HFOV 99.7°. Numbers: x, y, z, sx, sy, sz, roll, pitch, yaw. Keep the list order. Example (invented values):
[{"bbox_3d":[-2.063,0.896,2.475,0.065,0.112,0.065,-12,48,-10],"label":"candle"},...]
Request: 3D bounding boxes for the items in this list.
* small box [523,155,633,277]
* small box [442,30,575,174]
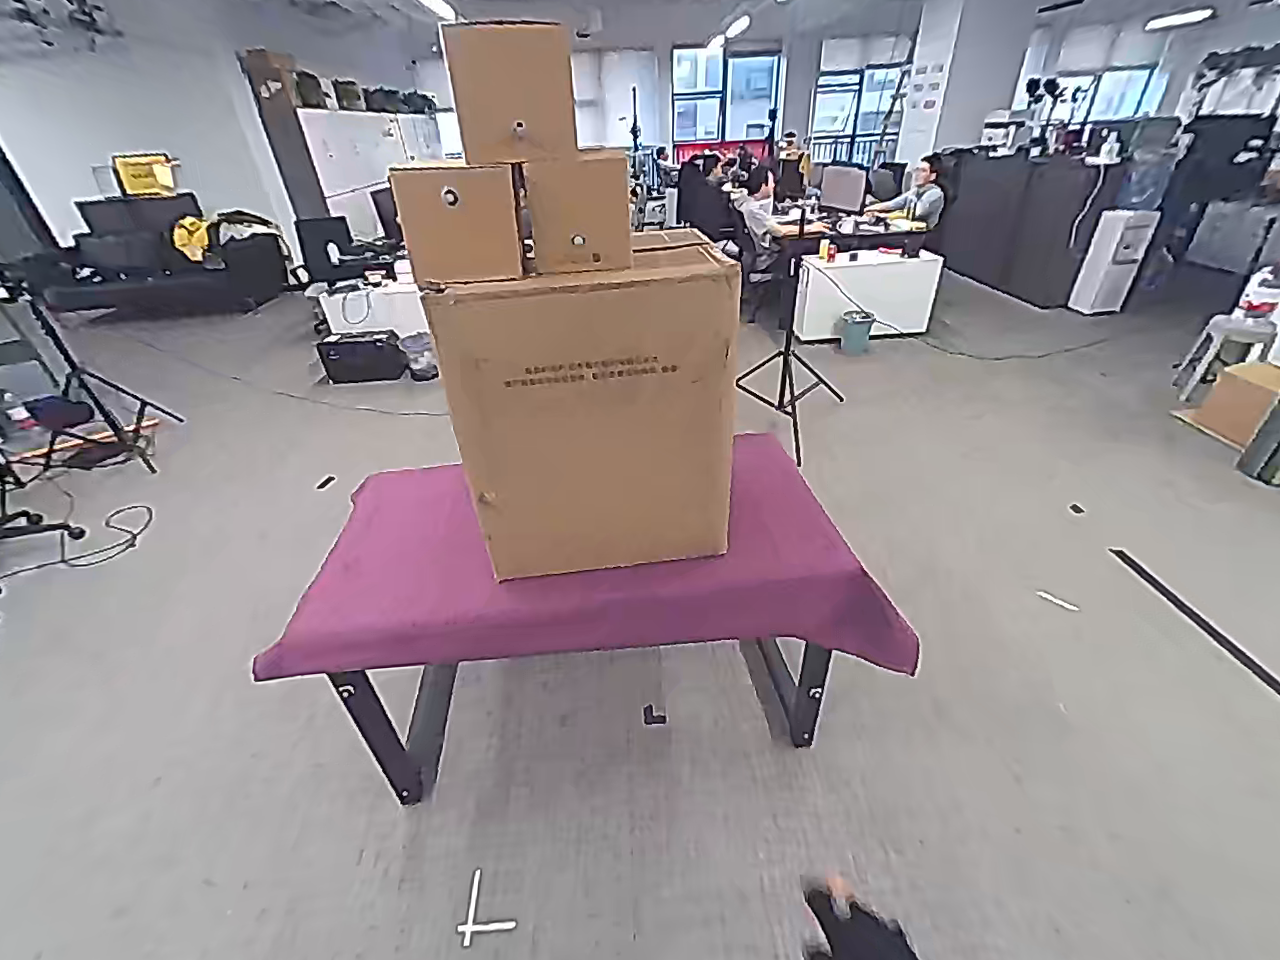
[{"bbox_3d":[-0.102,-0.464,0.950,0.168,0.176,0.179,-5,36,-1],"label":"small box"},{"bbox_3d":[-0.201,-0.588,0.849,0.179,0.176,0.168,-11,35,-12],"label":"small box"}]
